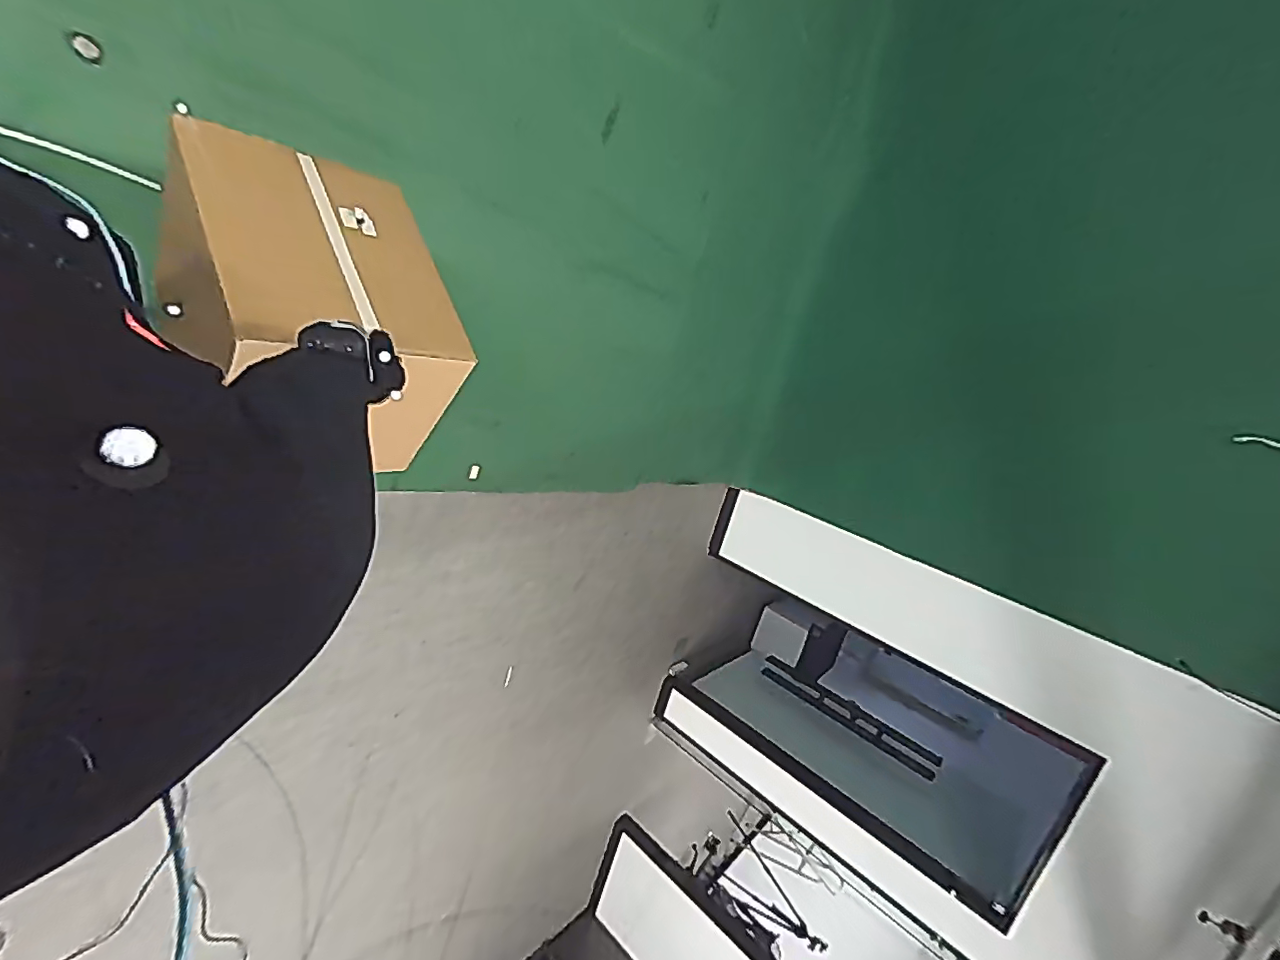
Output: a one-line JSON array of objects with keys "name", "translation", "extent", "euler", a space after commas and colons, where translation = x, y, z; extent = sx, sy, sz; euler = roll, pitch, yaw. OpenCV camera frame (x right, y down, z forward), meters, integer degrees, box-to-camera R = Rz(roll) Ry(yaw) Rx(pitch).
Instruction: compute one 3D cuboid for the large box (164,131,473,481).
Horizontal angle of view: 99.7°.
[{"name": "large box", "translation": [-0.541, -0.254, 0.892], "extent": [0.320, 0.408, 0.320], "euler": [-7, 152, -49]}]
